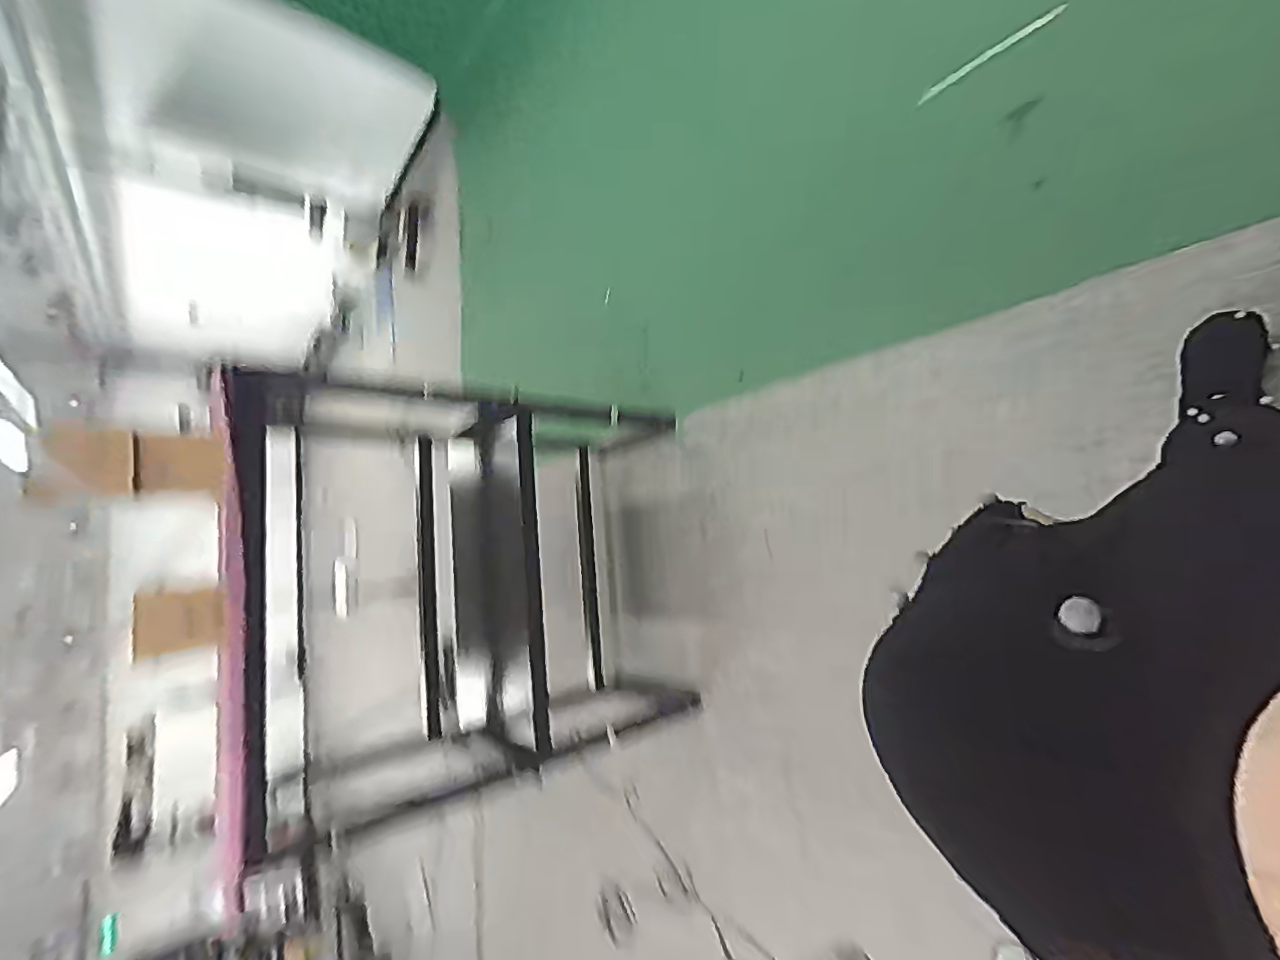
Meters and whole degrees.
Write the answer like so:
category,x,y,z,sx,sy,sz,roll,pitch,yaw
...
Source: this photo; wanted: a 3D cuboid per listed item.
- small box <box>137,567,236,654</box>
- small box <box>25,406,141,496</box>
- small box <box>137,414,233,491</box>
category,x,y,z,sx,sy,sz,roll,pitch,yaw
small box,-1.049,0.293,1.256,0.179,0.176,0.168,-8,83,50
small box,-1.214,-0.060,1.198,0.168,0.176,0.179,-9,84,51
small box,-1.096,-0.063,1.311,0.168,0.176,0.179,-2,89,52
